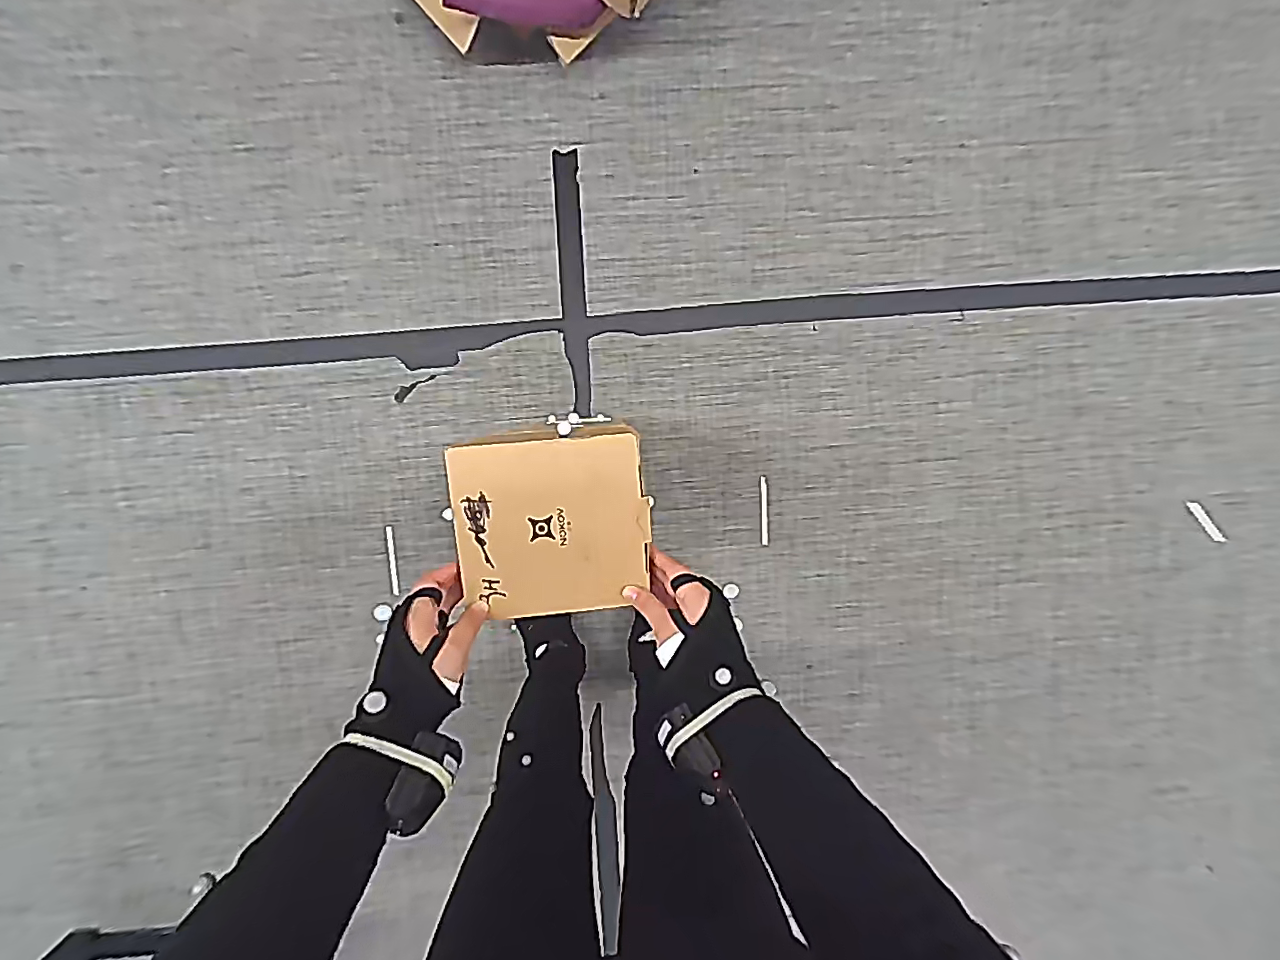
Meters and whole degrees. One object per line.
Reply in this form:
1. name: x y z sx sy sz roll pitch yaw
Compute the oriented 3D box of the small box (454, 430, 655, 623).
1. small box: -0.085 0.036 0.579 0.179 0.176 0.168 -5 98 -5
